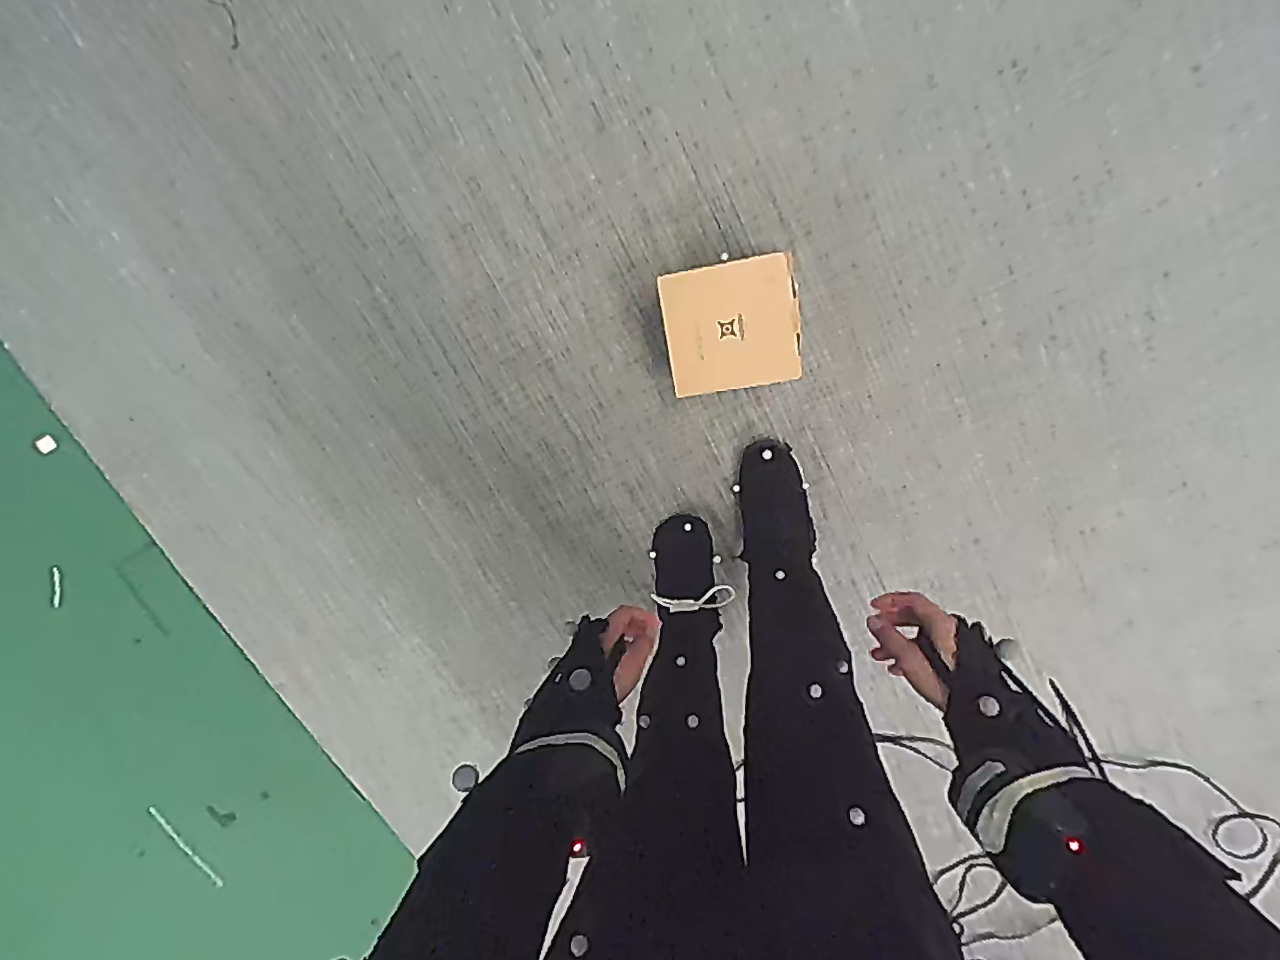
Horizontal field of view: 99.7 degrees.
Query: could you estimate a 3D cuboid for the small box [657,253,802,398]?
[{"bbox_3d":[0.130,-0.228,0.797,0.179,0.176,0.168,-8,107,12],"label":"small box"}]
